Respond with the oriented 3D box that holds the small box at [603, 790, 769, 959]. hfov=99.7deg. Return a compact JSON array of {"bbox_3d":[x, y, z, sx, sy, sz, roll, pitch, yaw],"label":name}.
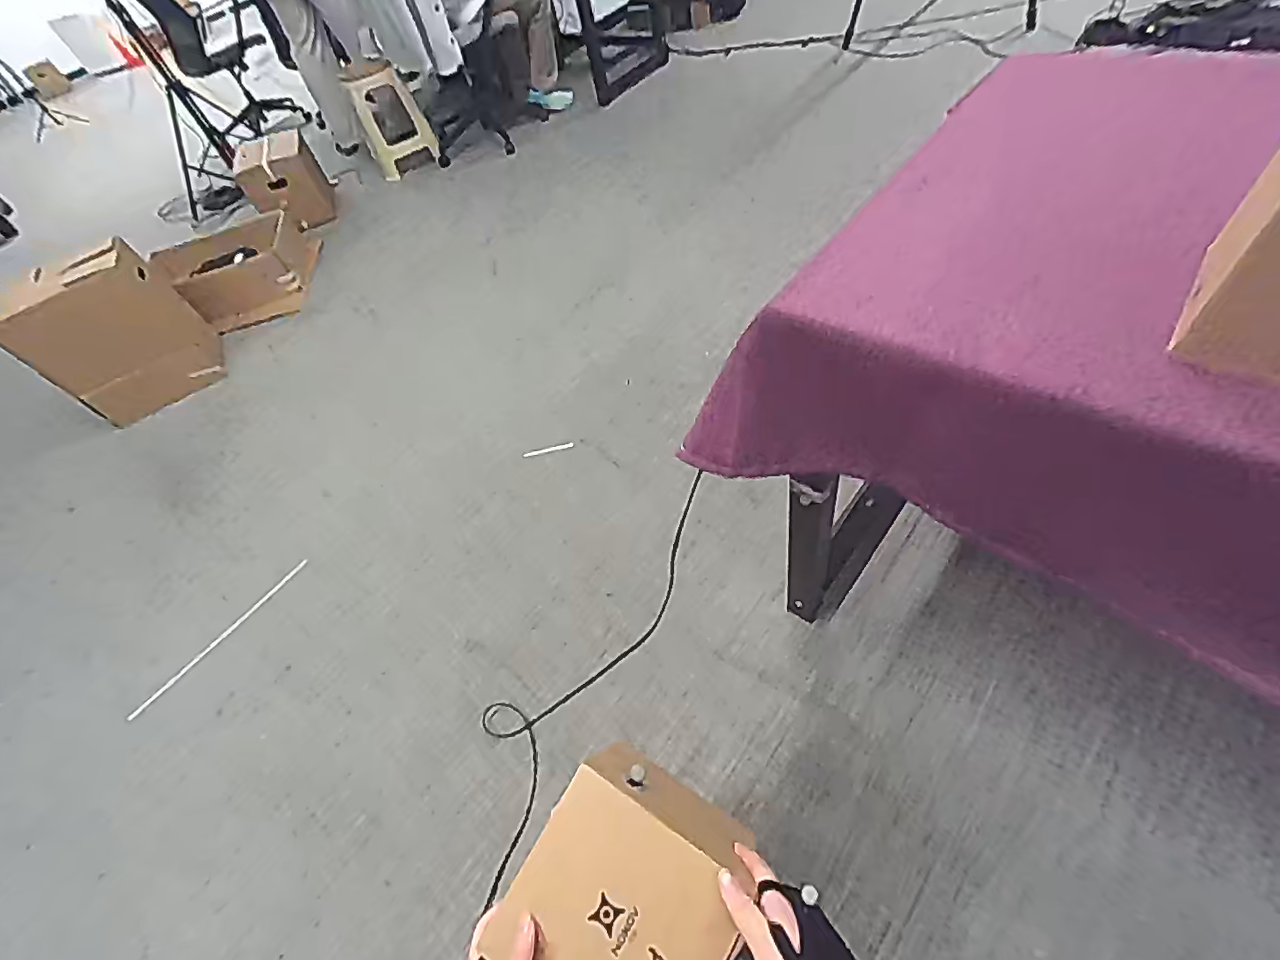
[{"bbox_3d":[0.077,0.601,0.794,0.168,0.176,0.179,31,65,31],"label":"small box"}]
